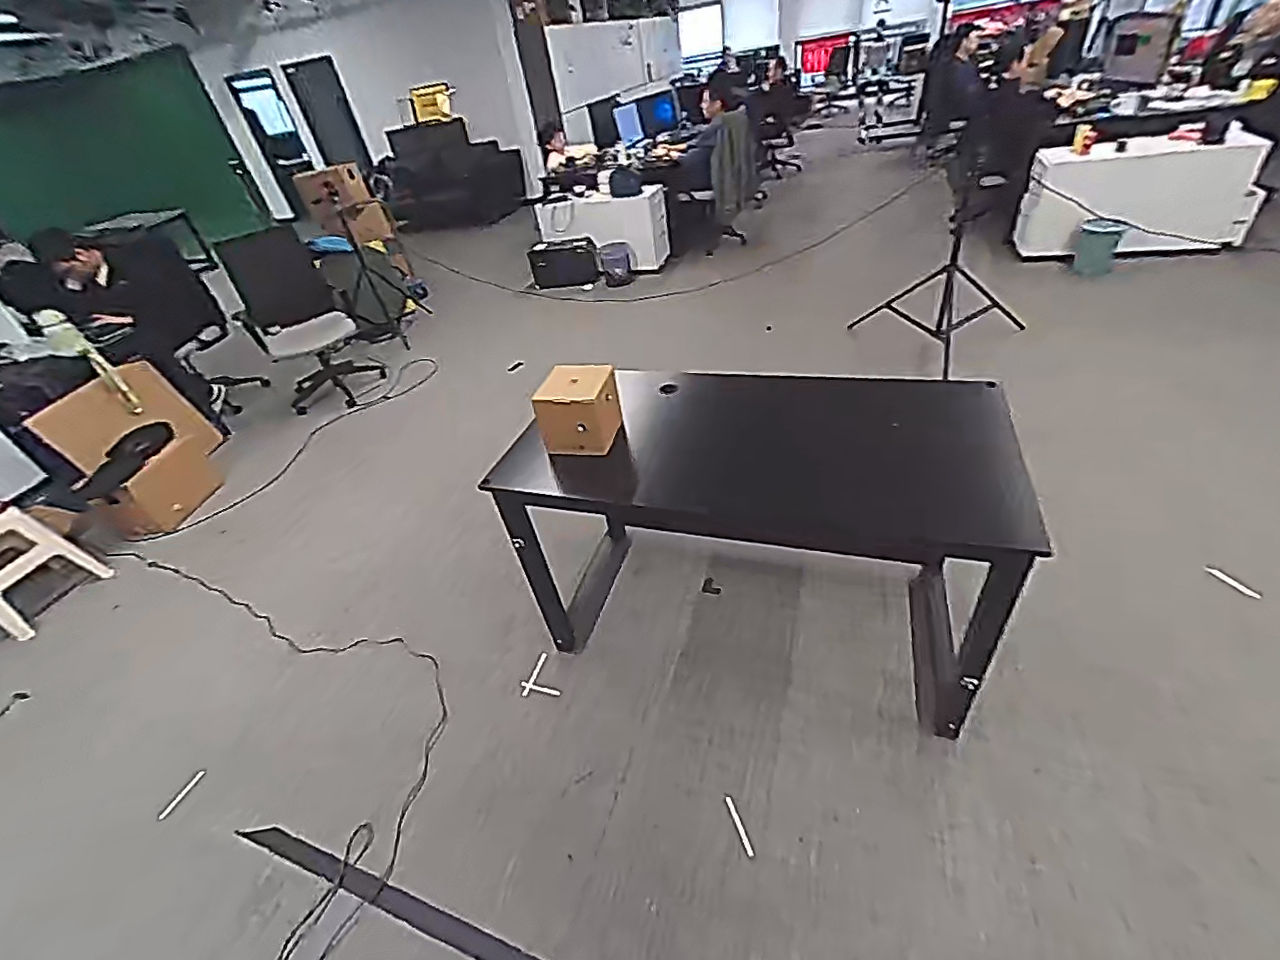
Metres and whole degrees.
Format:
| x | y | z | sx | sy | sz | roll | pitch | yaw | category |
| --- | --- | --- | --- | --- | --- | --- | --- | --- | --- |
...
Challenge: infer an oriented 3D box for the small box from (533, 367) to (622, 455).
| x | y | z | sx | sy | sz | roll | pitch | yaw | category |
| --- | --- | --- | --- | --- | --- | --- | --- | --- | --- |
| -0.153 | -0.178 | 1.408 | 0.168 | 0.176 | 0.179 | 3 | 39 | 15 | small box |
